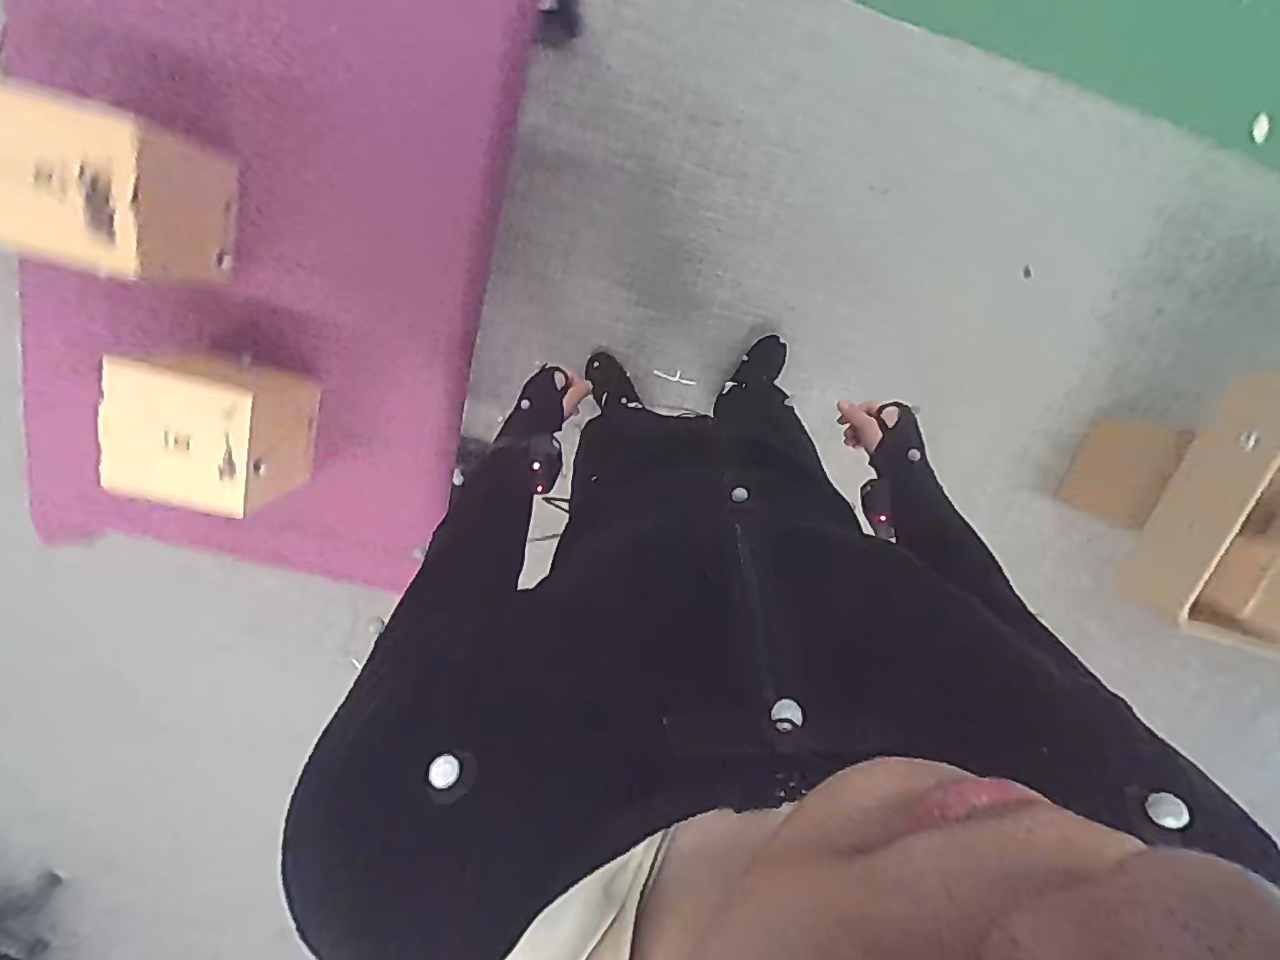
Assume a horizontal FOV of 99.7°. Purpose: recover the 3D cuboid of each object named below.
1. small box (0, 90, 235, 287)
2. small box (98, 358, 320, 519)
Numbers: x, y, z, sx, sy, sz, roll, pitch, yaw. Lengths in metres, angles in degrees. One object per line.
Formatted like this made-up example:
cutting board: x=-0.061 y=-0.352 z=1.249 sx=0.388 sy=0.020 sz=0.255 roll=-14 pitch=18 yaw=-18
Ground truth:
small box: x=-0.646 y=-0.345 z=0.671 sx=0.179 sy=0.176 sz=0.168 roll=13 pitch=105 yaw=-6
small box: x=-0.584 y=-0.067 z=0.750 sx=0.179 sy=0.176 sz=0.168 roll=14 pitch=106 yaw=-6
